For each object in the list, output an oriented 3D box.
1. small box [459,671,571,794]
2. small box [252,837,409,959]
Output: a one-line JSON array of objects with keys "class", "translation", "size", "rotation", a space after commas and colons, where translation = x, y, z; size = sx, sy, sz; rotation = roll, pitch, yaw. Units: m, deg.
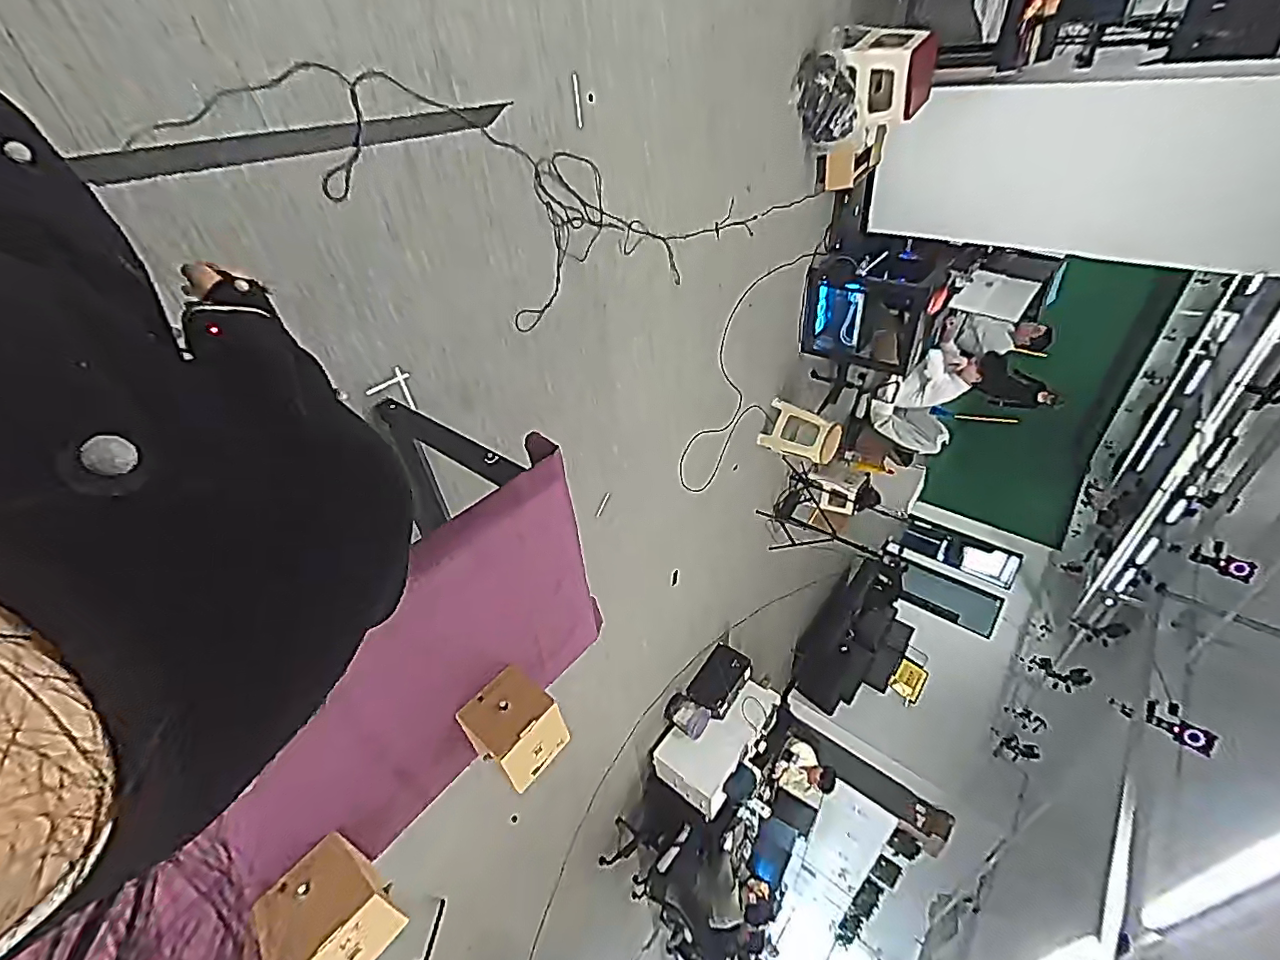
[{"class": "small box", "translation": [-0.291, 0.575, 1.258], "size": [0.168, 0.176, 0.179], "rotation": [-39, 137, -34]}, {"class": "small box", "translation": [-0.575, 0.818, 1.011], "size": [0.168, 0.176, 0.179], "rotation": [-40, 138, -35]}]
